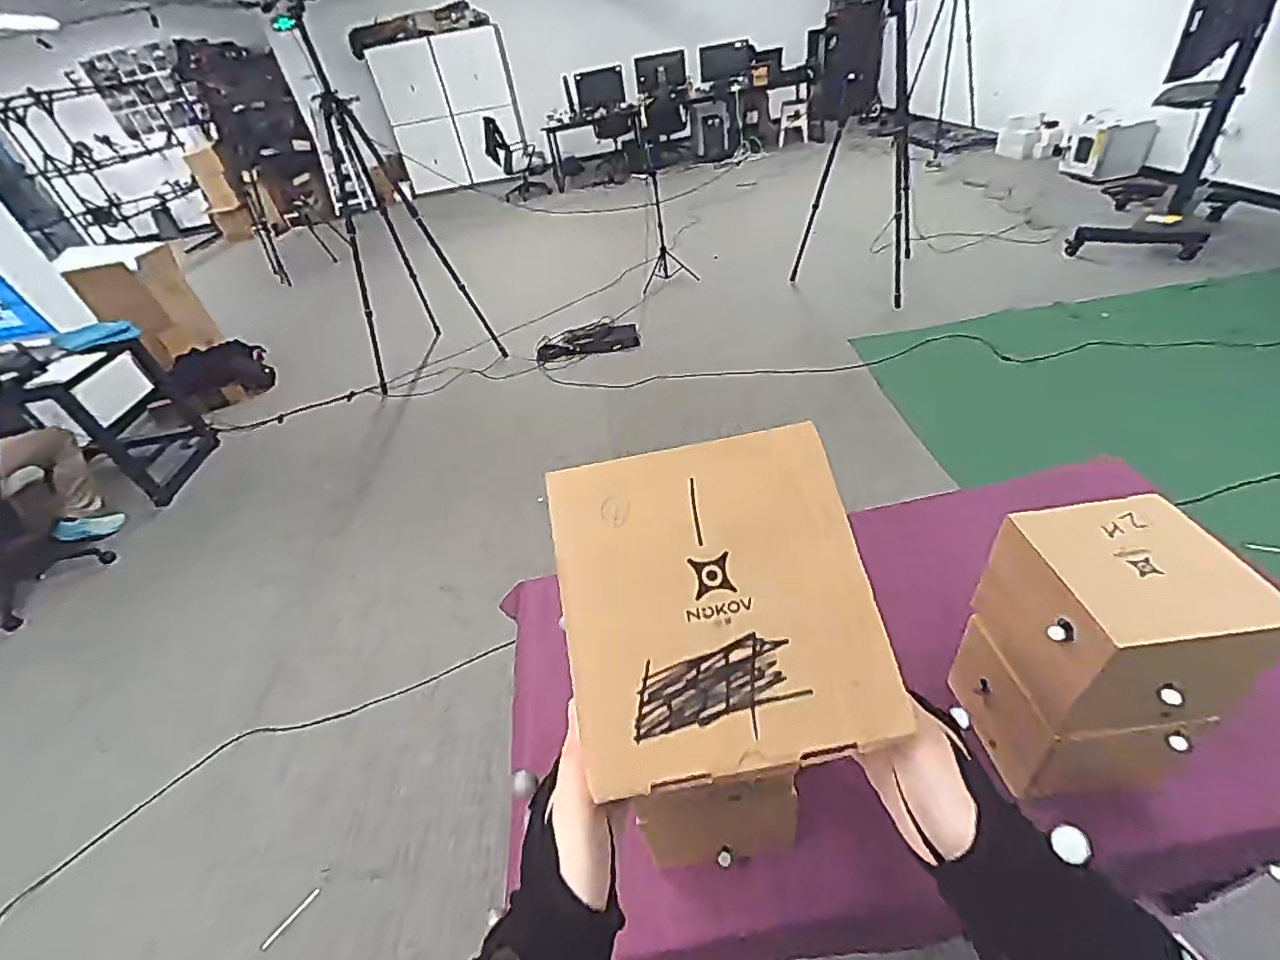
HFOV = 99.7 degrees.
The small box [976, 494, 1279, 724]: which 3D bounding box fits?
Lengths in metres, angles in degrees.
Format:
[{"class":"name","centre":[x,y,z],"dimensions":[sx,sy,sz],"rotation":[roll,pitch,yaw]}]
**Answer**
[{"class":"small box","centre":[0.501,0.142,0.580],"dimensions":[0.168,0.176,0.179],"rotation":[-8,39,4]}]

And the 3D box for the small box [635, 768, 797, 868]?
[{"class":"small box","centre":[0.085,0.362,0.685],"dimensions":[0.179,0.176,0.168],"rotation":[-10,39,1]}]

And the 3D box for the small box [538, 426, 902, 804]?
[{"class":"small box","centre":[0.040,0.088,0.364],"dimensions":[0.168,0.176,0.179],"rotation":[-11,70,0]}]

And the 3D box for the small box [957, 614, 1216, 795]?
[{"class":"small box","centre":[0.528,0.271,0.679],"dimensions":[0.179,0.176,0.168],"rotation":[-10,39,2]}]

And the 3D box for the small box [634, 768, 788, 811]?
[{"class":"small box","centre":[0.059,0.234,0.585],"dimensions":[0.168,0.176,0.179],"rotation":[-9,38,3]}]
